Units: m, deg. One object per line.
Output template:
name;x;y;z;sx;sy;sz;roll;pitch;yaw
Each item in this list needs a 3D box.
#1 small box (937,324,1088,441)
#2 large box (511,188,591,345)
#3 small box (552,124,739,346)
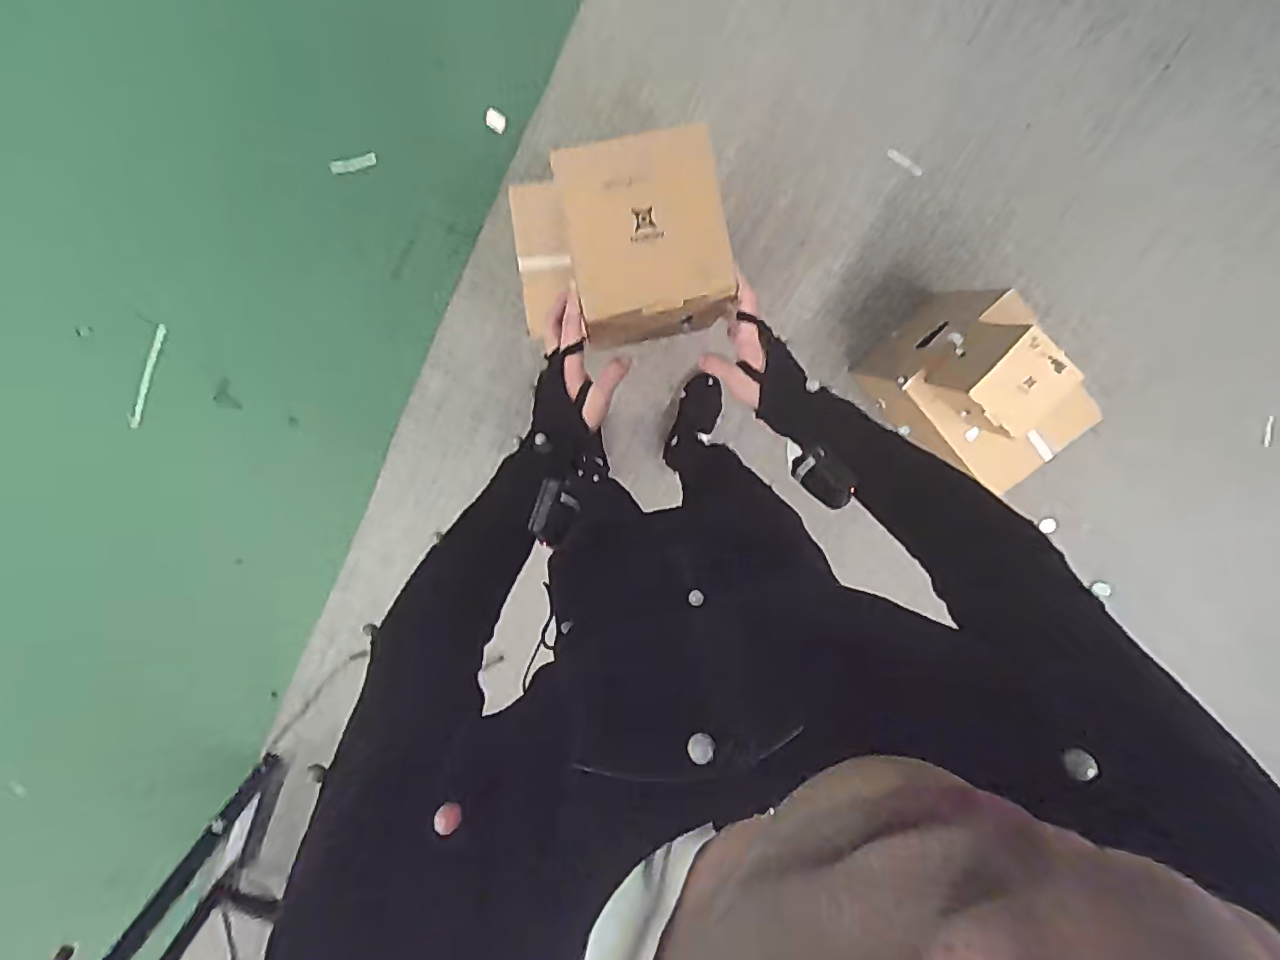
small box;0.774;-0.213;1.152;0.168;0.176;0.179;37;103;-12
large box;-0.058;-0.509;1.300;0.408;0.320;0.320;-5;105;1
small box;0.004;-0.263;0.625;0.168;0.176;0.179;-12;92;-3
